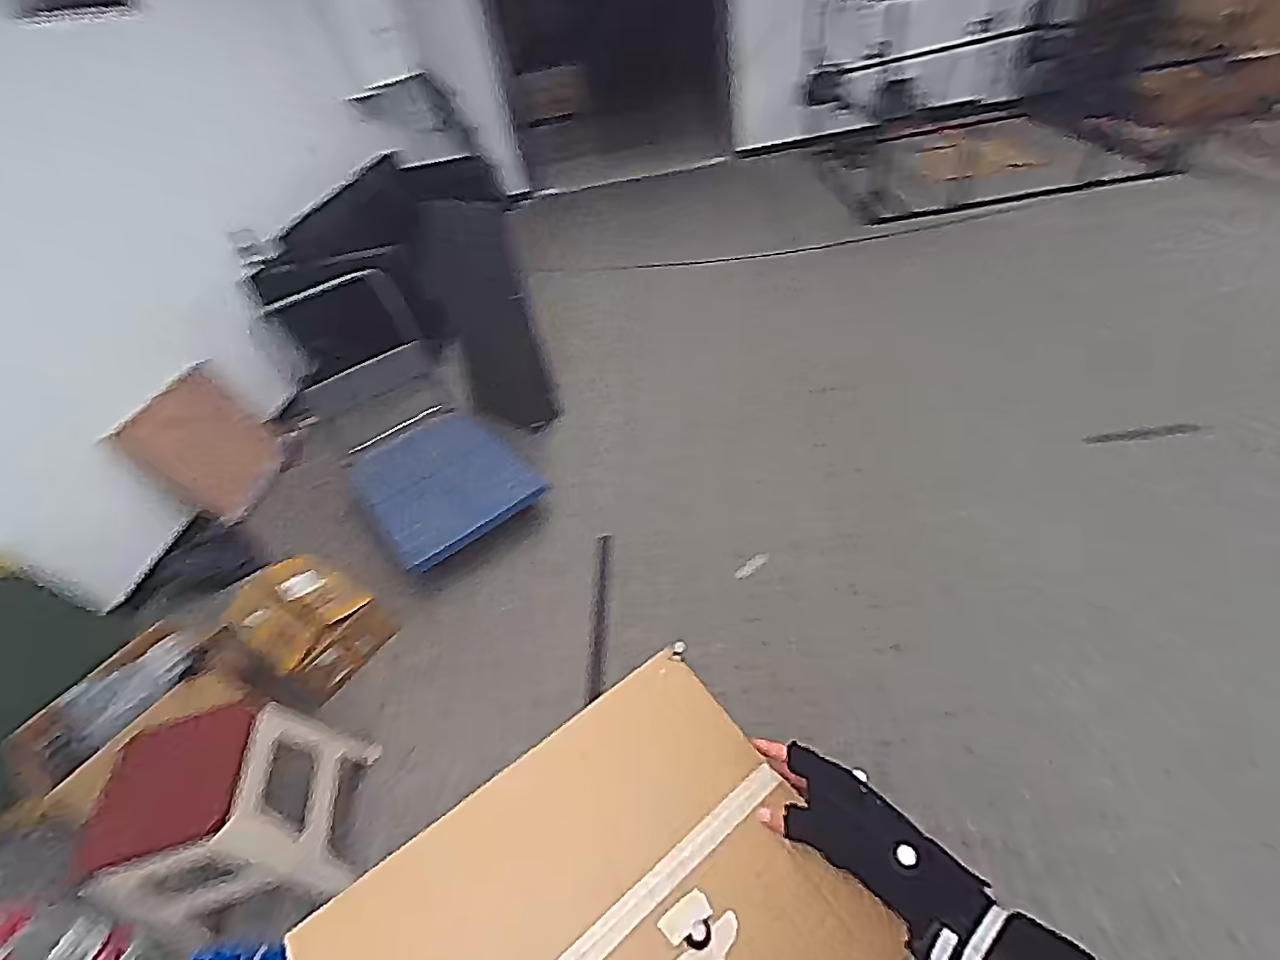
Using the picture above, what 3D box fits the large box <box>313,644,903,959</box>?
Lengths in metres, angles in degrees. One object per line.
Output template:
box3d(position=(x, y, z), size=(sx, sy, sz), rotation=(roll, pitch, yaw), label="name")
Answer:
box3d(position=(-0.026, 0.462, 0.559), size=(0.408, 0.320, 0.320), rotation=(-30, 56, -22), label="large box")
